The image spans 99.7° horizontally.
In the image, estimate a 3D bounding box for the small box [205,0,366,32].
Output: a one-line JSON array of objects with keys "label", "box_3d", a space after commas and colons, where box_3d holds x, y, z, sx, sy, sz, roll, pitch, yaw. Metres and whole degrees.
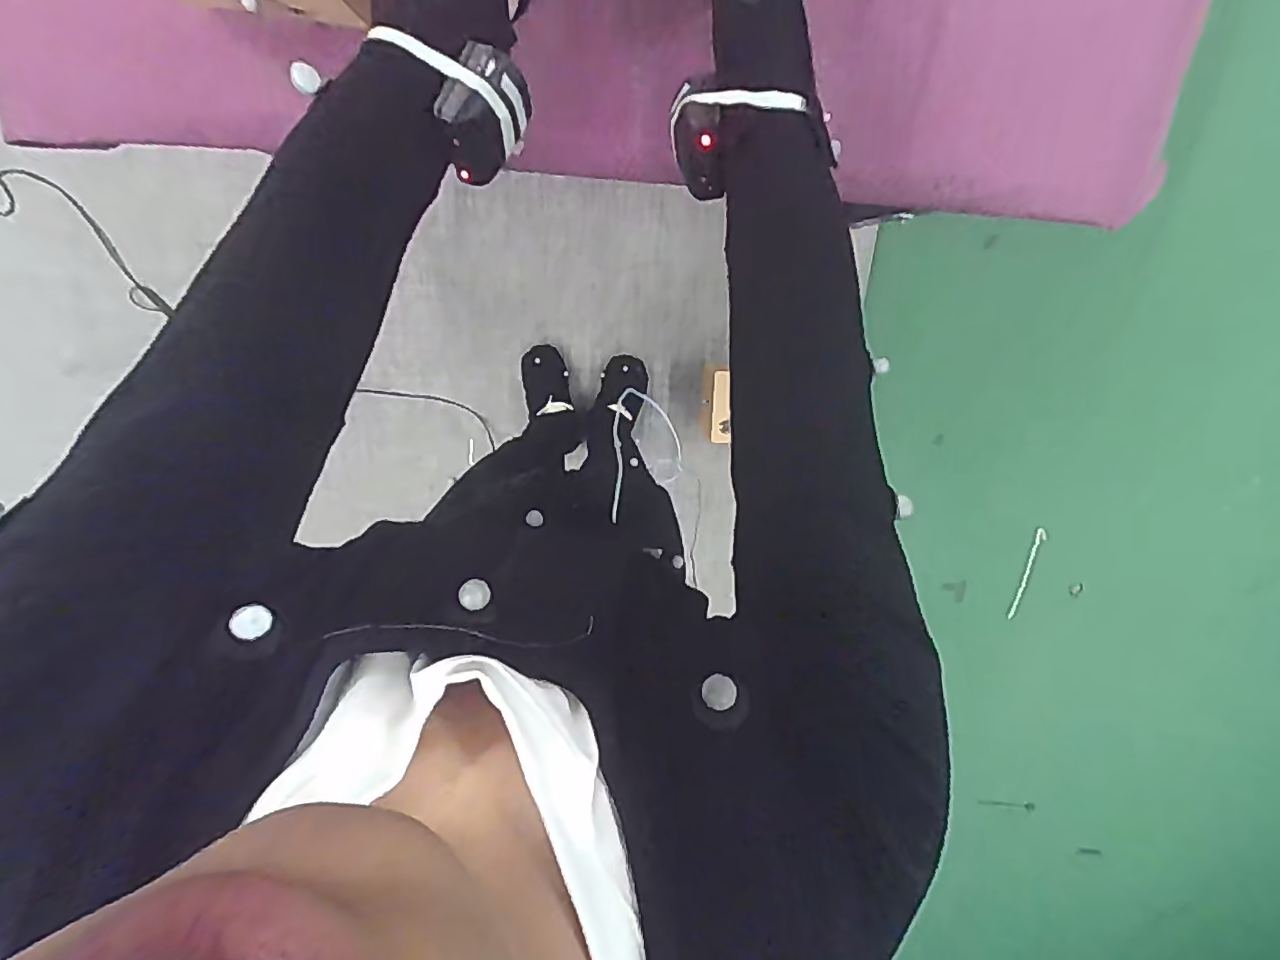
[{"label": "small box", "box_3d": [-0.336, -0.508, 0.428, 0.168, 0.176, 0.179, 6, 110, -5]}]
